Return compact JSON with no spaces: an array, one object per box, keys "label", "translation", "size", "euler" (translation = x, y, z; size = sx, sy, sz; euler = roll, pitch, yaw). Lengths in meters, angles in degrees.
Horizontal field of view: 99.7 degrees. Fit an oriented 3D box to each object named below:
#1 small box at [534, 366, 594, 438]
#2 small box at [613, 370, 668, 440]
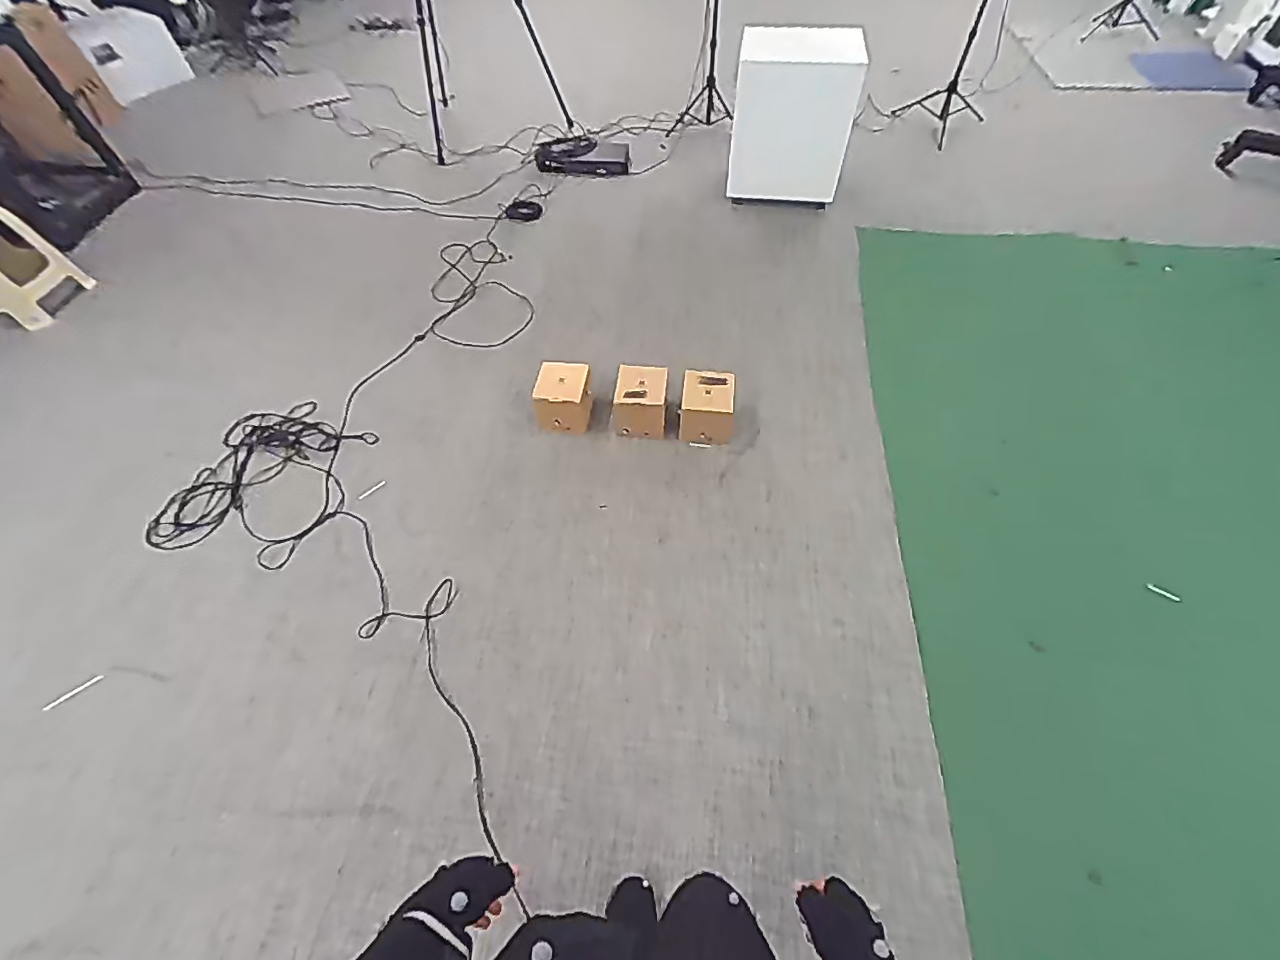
[{"label":"small box","translation":[-0.256,-0.271,1.883],"size":[0.168,0.176,0.179],"euler":[4,55,6]},{"label":"small box","translation":[0.008,-0.256,1.857],"size":[0.168,0.176,0.179],"euler":[4,54,6]}]
